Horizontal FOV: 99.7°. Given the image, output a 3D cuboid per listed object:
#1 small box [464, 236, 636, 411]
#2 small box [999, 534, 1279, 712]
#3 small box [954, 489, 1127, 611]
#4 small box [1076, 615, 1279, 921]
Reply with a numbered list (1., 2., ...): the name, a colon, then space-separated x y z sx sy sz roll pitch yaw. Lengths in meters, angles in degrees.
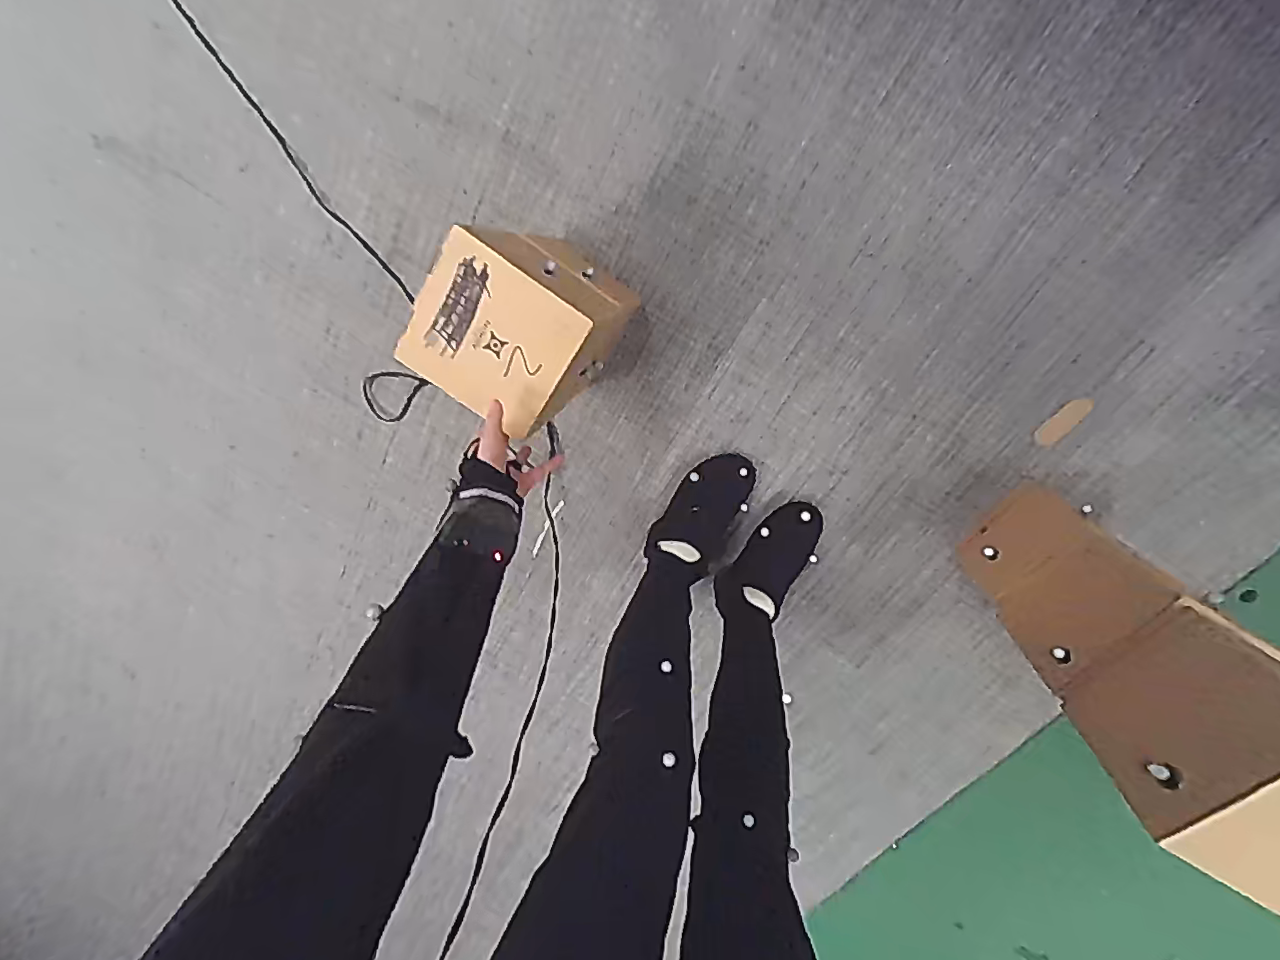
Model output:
1. small box: -0.123 -0.235 0.809 0.168 0.176 0.179 35 113 -5
2. small box: 0.604 0.198 0.677 0.168 0.176 0.179 30 114 -3
3. small box: 0.626 0.135 0.824 0.179 0.176 0.168 33 113 -4
4. small box: 0.585 0.273 0.531 0.168 0.176 0.179 31 114 -4
